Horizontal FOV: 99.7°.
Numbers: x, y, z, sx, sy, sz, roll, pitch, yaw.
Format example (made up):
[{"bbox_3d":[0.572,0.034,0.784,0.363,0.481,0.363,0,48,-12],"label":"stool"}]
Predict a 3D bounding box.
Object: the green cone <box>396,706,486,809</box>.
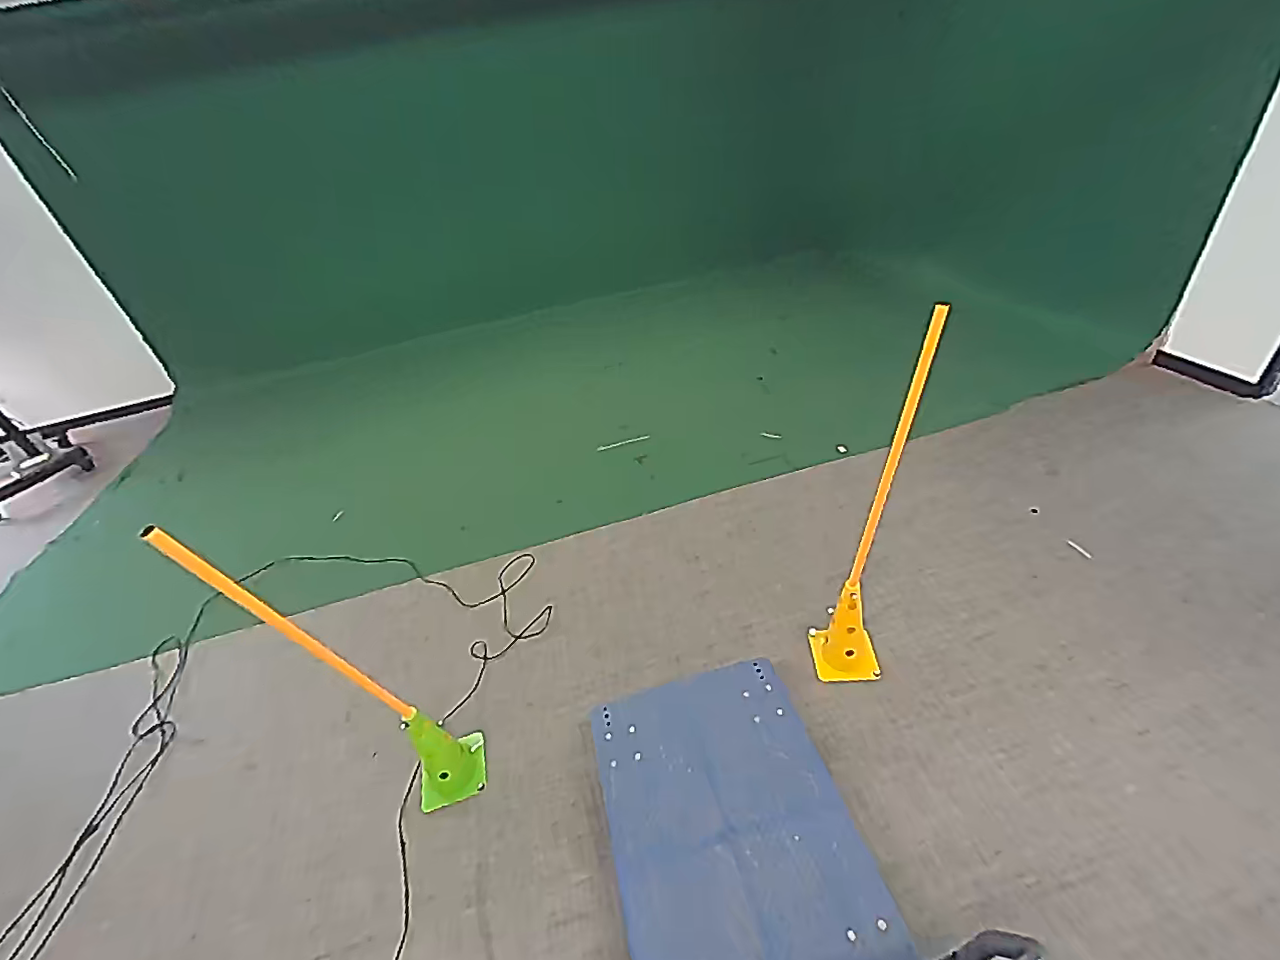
[{"bbox_3d":[-0.624,0.780,1.615,0.202,0.368,0.200,-19,37,-8],"label":"green cone"}]
